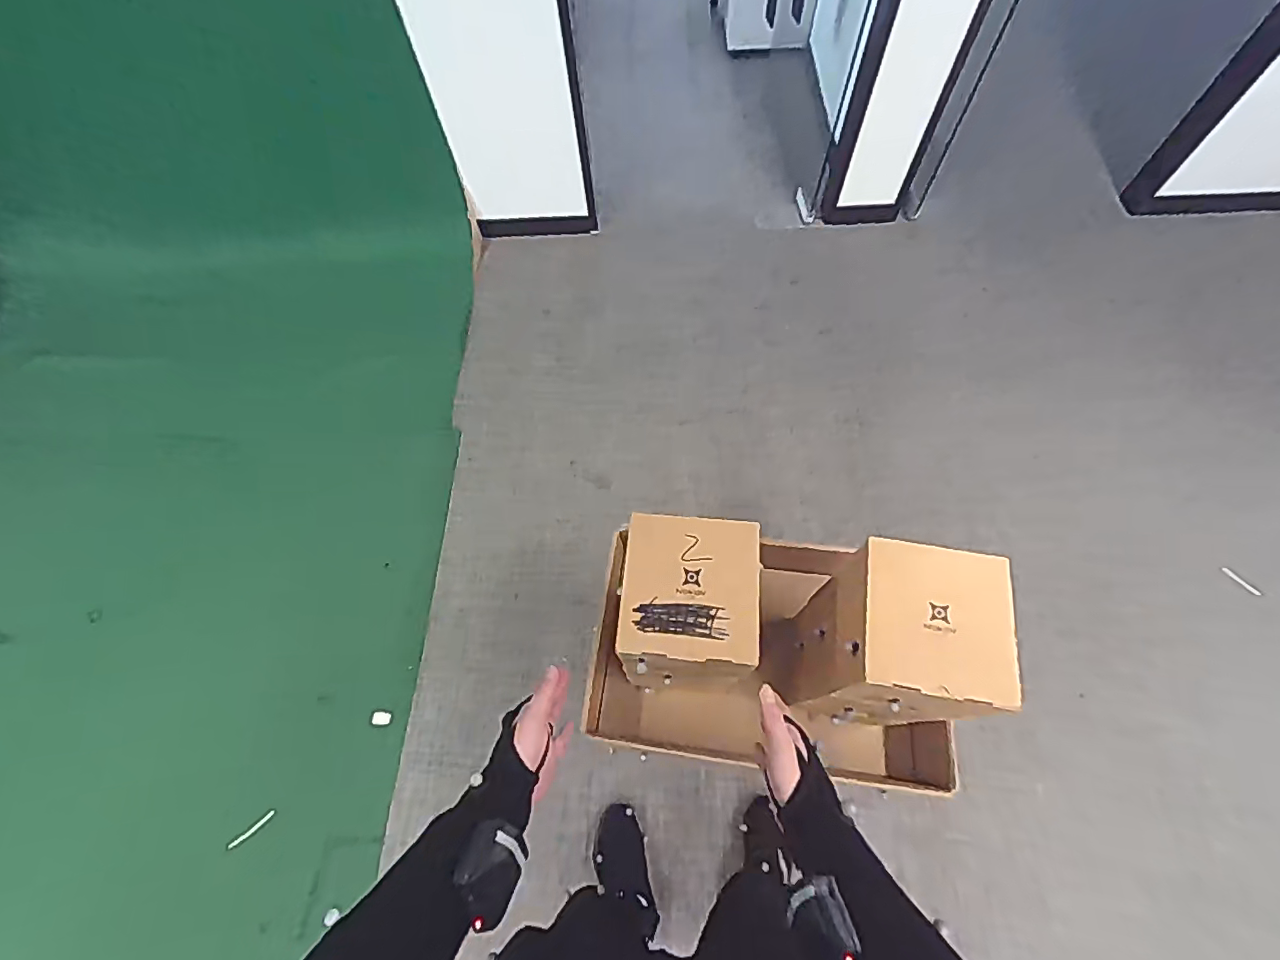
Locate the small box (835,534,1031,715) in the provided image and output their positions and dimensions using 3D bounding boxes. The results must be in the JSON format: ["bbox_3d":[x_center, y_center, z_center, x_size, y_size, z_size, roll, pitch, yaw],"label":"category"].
[{"bbox_3d":[0.355,0.189,0.689,0.168,0.176,0.179,8,65,8],"label":"small box"}]

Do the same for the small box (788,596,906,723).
[{"bbox_3d":[0.372,0.330,0.982,0.168,0.176,0.179,9,66,8],"label":"small box"}]

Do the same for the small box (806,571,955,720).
[{"bbox_3d":[0.360,0.260,0.834,0.168,0.176,0.179,9,65,7],"label":"small box"}]

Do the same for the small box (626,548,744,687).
[{"bbox_3d":[0.071,0.224,0.865,0.168,0.176,0.179,4,65,4],"label":"small box"}]
